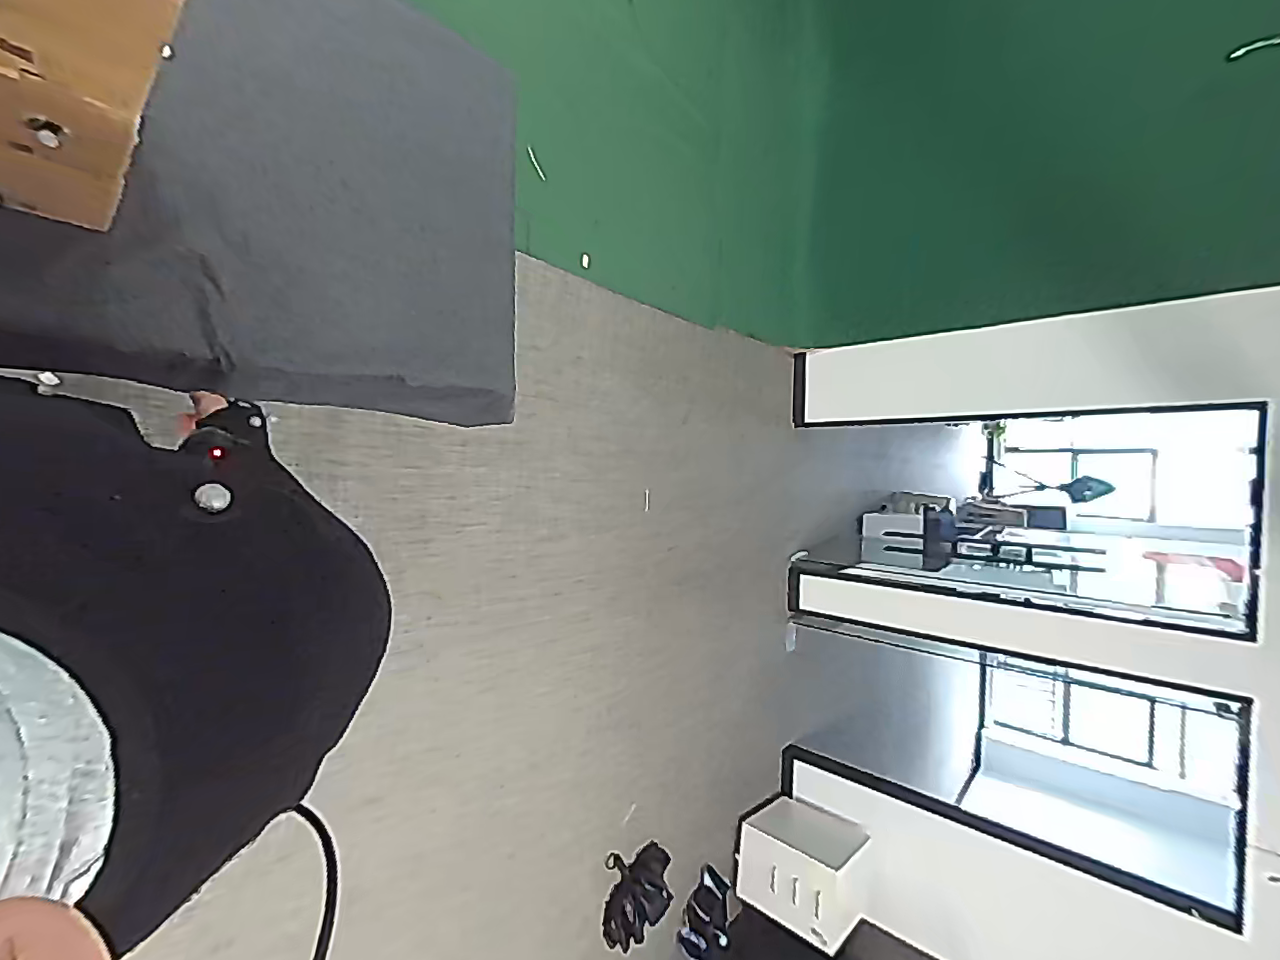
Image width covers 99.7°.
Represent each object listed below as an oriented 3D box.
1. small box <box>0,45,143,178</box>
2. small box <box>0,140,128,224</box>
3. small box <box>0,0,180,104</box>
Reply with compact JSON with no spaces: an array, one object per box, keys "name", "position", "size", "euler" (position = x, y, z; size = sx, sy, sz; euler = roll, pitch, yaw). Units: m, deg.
[{"name":"small box","position":[-0.477,-0.362,0.396],"size":[0.168,0.176,0.179],"euler":[6,87,-50]},{"name":"small box","position":[-0.598,-0.372,0.503],"size":[0.168,0.176,0.179],"euler":[2,92,-48]},{"name":"small box","position":[-0.352,-0.356,0.291],"size":[0.168,0.176,0.179],"euler":[9,87,-49]}]
